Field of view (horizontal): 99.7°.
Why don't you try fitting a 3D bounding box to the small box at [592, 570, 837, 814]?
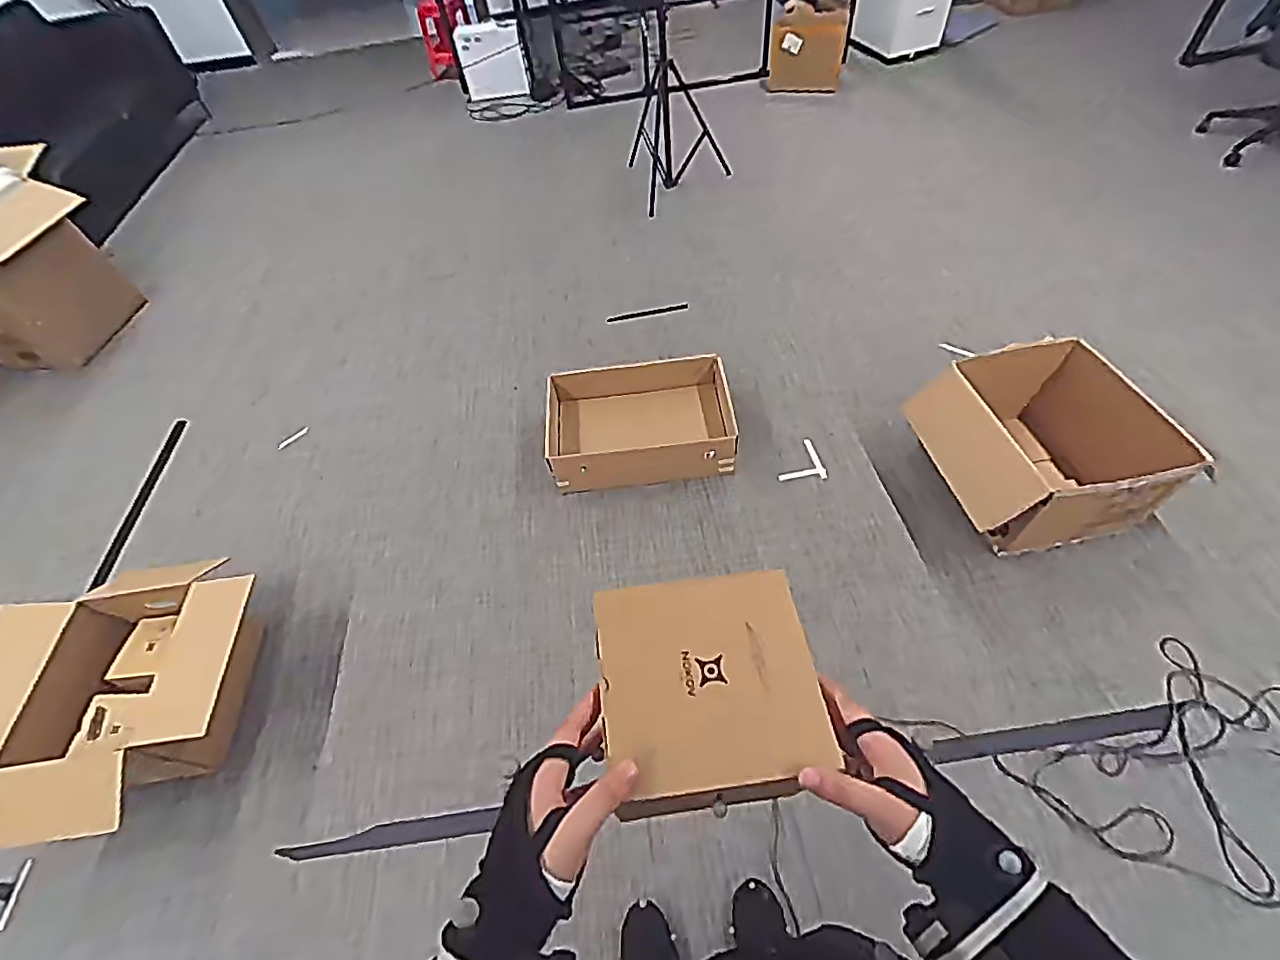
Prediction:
[{"bbox_3d":[0.053,0.204,0.510,0.179,0.176,0.168,-6,55,-5],"label":"small box"}]
